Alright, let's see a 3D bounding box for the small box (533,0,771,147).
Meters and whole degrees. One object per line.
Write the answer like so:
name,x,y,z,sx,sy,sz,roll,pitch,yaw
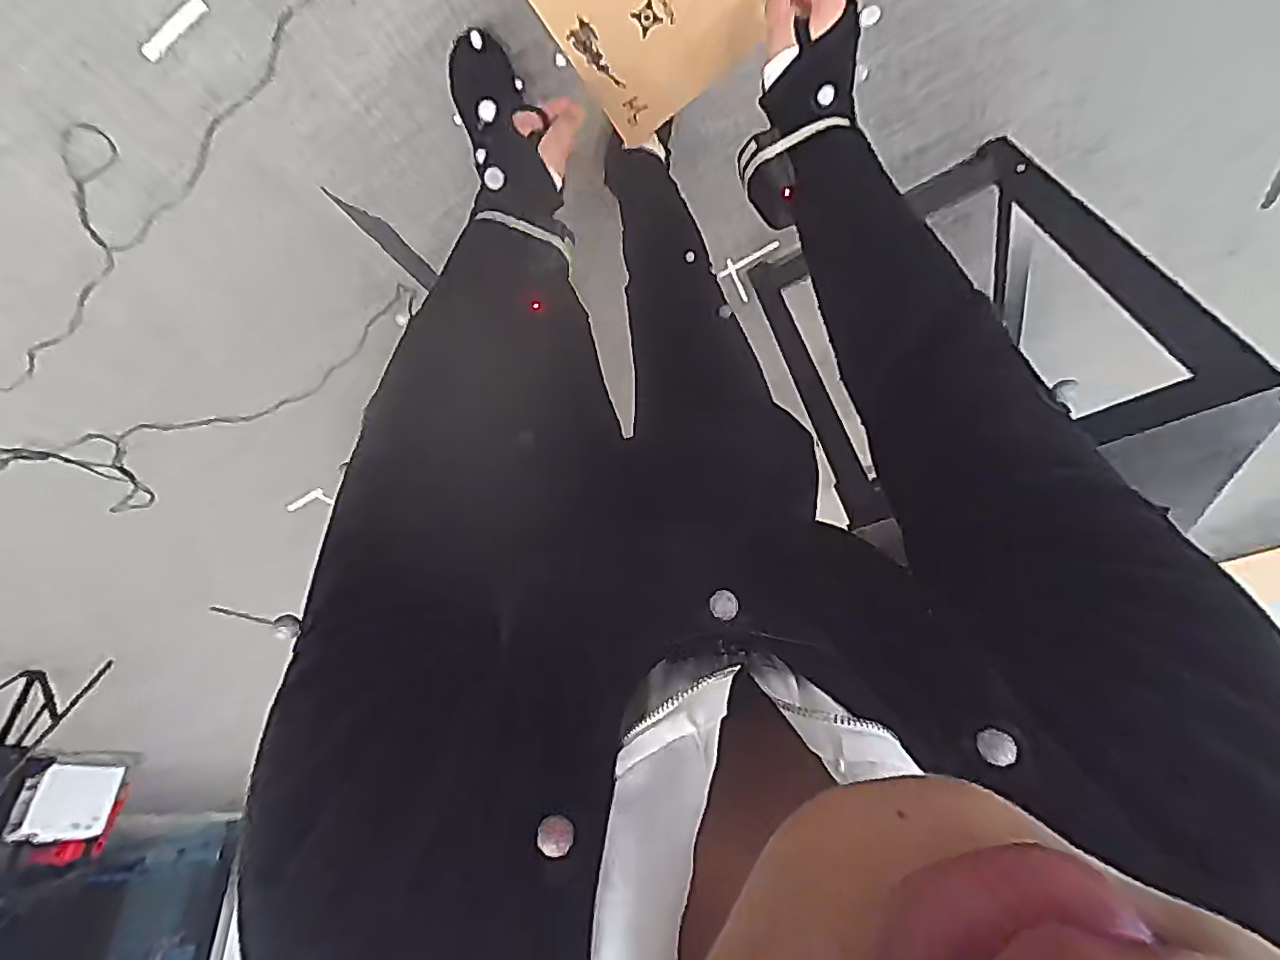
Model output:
small box,0.001,-0.496,0.545,0.179,0.176,0.168,-29,140,22
